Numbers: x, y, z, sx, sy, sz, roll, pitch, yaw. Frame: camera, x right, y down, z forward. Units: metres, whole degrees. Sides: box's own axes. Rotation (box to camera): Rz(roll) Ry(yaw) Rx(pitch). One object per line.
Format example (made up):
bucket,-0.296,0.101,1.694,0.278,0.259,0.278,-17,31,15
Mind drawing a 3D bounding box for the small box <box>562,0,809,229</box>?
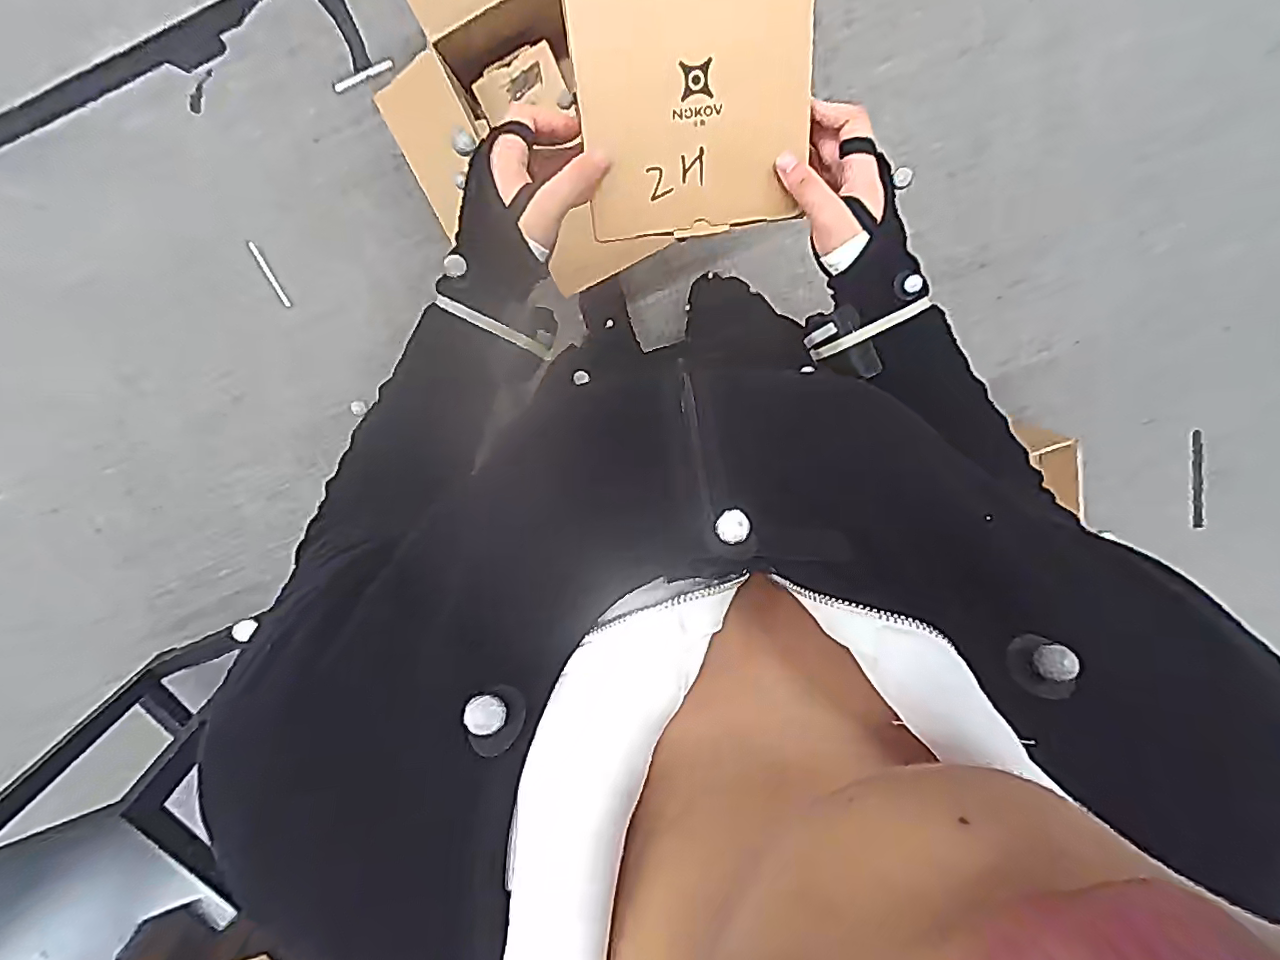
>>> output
small box,0.028,-0.313,0.444,0.168,0.176,0.179,-7,118,-1
